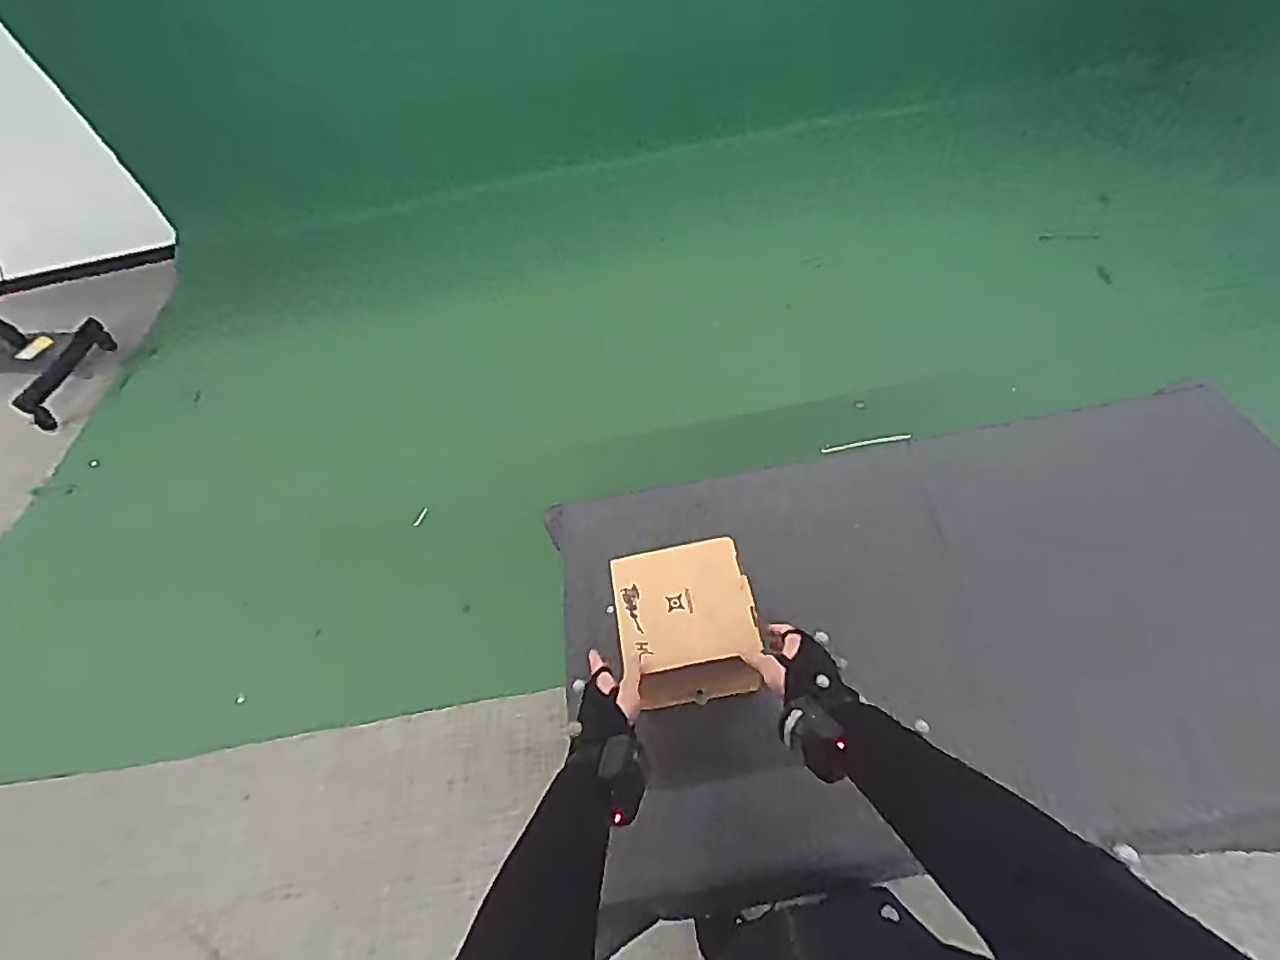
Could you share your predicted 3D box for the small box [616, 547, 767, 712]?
[{"bbox_3d":[0.069,0.217,0.771,0.179,0.176,0.168,-10,53,1],"label":"small box"}]
